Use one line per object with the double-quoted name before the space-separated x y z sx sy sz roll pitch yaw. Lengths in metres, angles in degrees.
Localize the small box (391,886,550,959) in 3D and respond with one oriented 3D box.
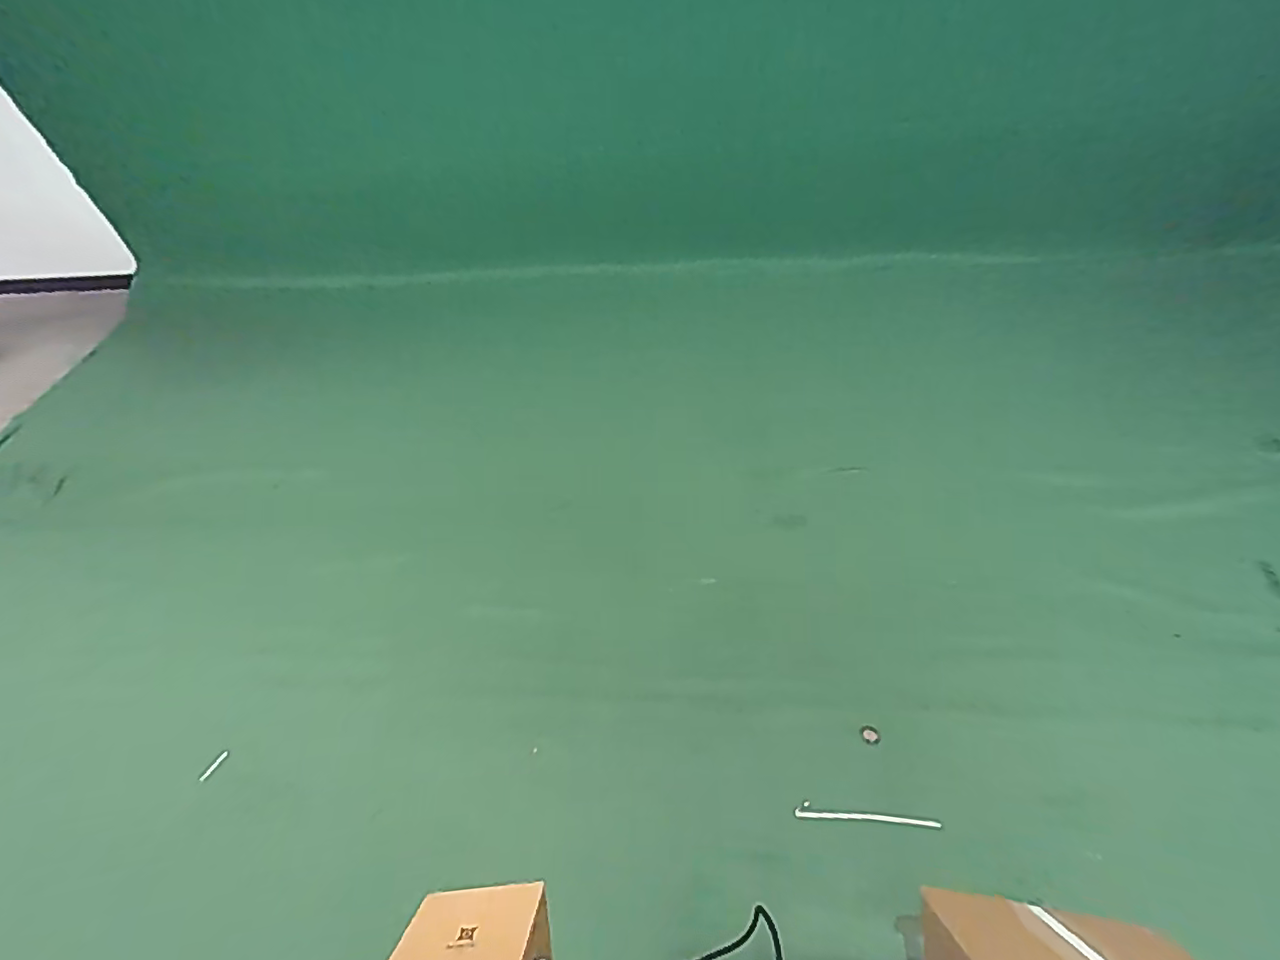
"small box" -0.206 0.645 0.657 0.168 0.179 0.176 -7 87 1
